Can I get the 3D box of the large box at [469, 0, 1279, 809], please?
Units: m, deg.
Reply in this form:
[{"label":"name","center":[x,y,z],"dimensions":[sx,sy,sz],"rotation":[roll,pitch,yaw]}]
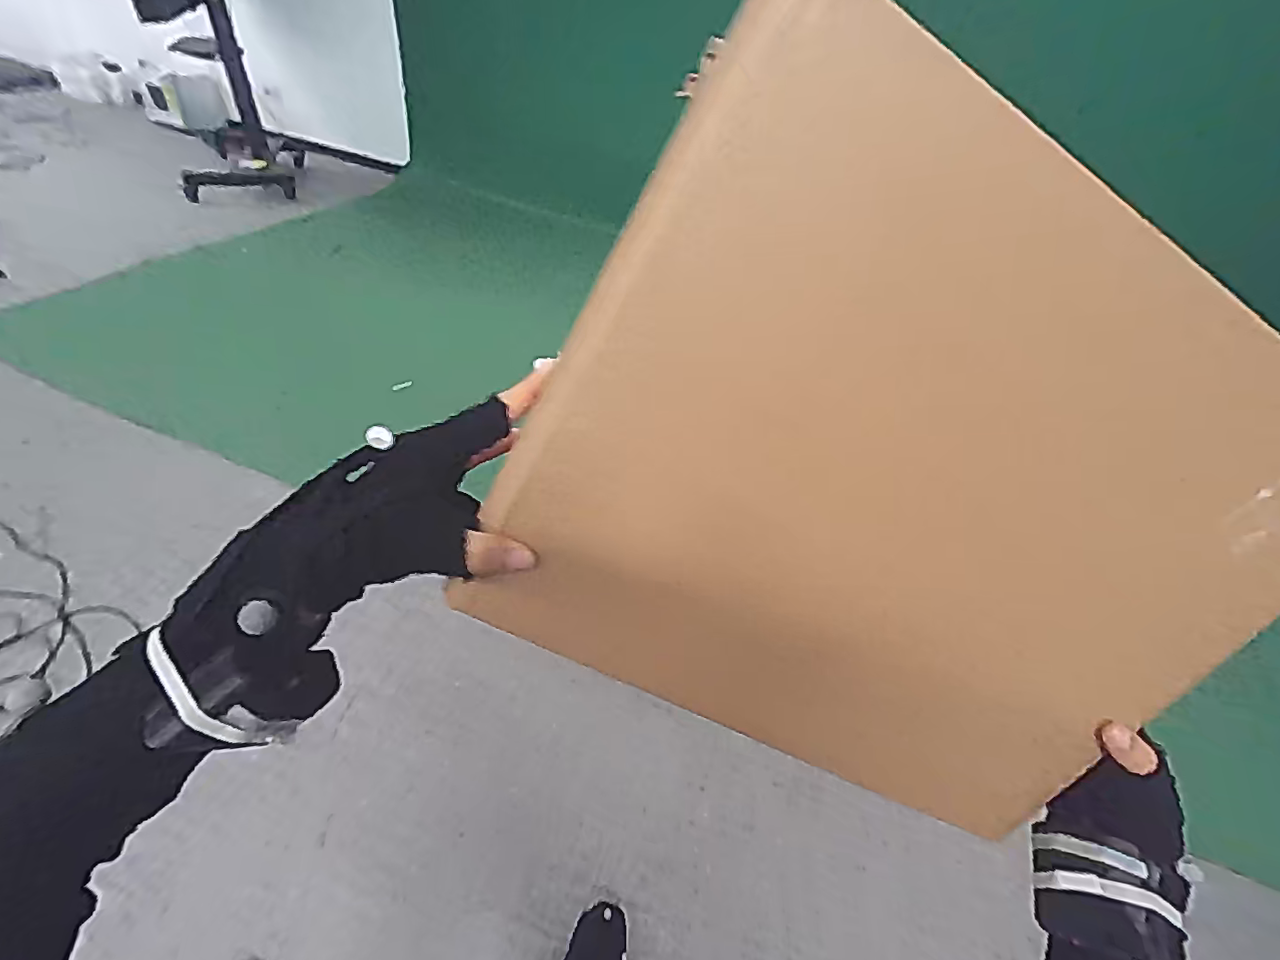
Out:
[{"label":"large box","center":[0.143,-0.032,0.420],"dimensions":[0.408,0.320,0.320],"rotation":[29,21,-13]}]
